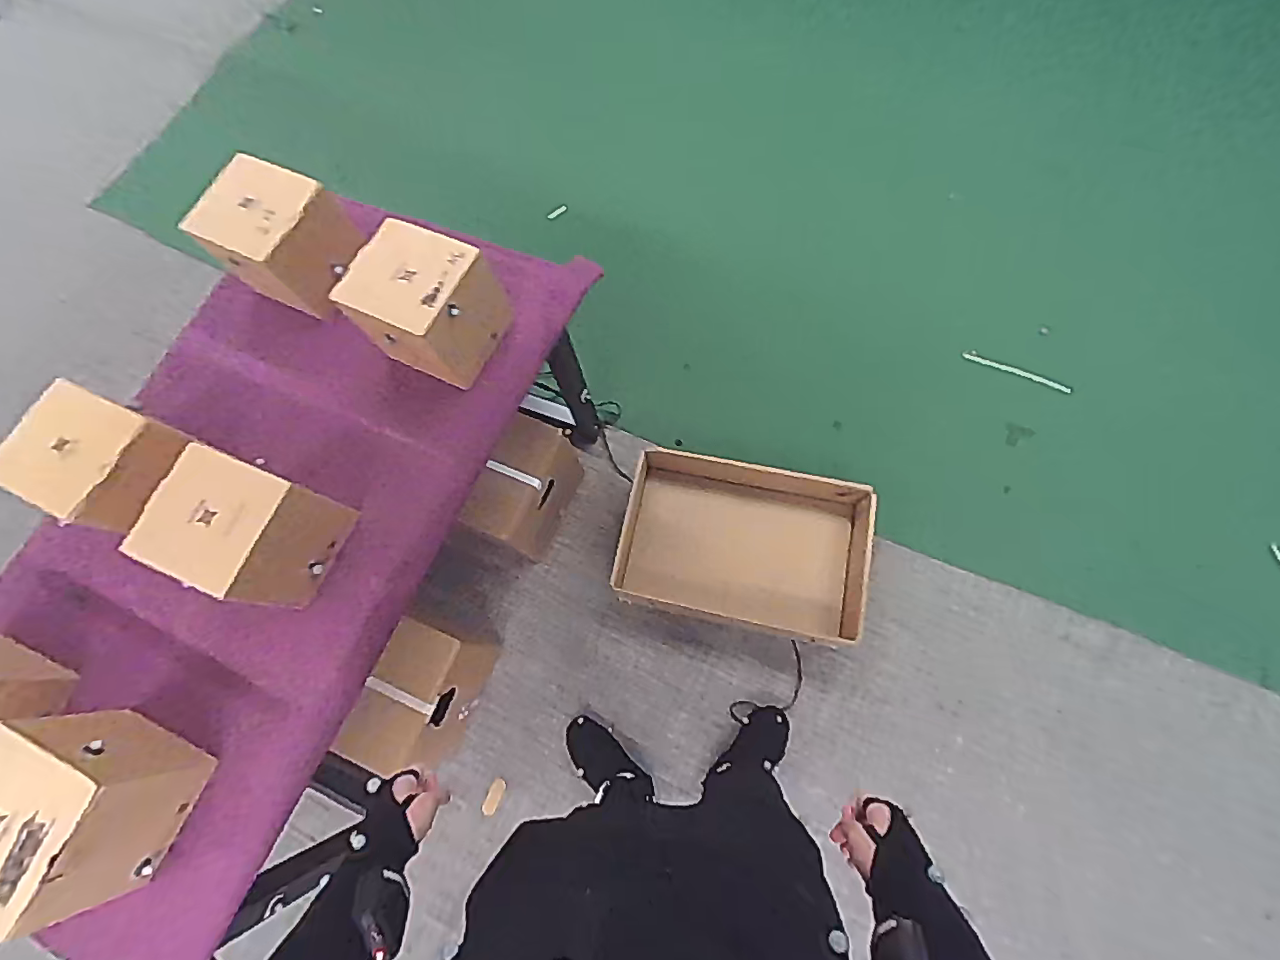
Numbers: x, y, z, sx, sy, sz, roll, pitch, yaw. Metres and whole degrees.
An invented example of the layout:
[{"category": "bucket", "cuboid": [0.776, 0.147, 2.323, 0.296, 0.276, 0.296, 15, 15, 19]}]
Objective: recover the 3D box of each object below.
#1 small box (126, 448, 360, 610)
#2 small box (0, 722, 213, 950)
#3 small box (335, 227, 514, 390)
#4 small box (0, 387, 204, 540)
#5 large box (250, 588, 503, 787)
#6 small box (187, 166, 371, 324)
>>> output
[{"category": "small box", "cuboid": [-0.558, 0.080, 0.786, 0.179, 0.176, 0.168, 20, 75, 11]}, {"category": "small box", "cuboid": [-0.704, 0.419, 0.678, 0.179, 0.176, 0.168, 20, 73, 12]}, {"category": "small box", "cuboid": [-0.340, -0.272, 0.887, 0.179, 0.176, 0.168, 23, 76, 14]}, {"category": "small box", "cuboid": [-0.797, -0.011, 0.837, 0.179, 0.176, 0.168, 22, 74, 10]}, {"category": "large box", "cuboid": [-0.621, 0.498, 1.348, 0.408, 0.320, 0.320, 19, 73, 12]}, {"category": "small box", "cuboid": [-0.618, -0.405, 0.953, 0.179, 0.176, 0.168, 24, 77, 11]}]
